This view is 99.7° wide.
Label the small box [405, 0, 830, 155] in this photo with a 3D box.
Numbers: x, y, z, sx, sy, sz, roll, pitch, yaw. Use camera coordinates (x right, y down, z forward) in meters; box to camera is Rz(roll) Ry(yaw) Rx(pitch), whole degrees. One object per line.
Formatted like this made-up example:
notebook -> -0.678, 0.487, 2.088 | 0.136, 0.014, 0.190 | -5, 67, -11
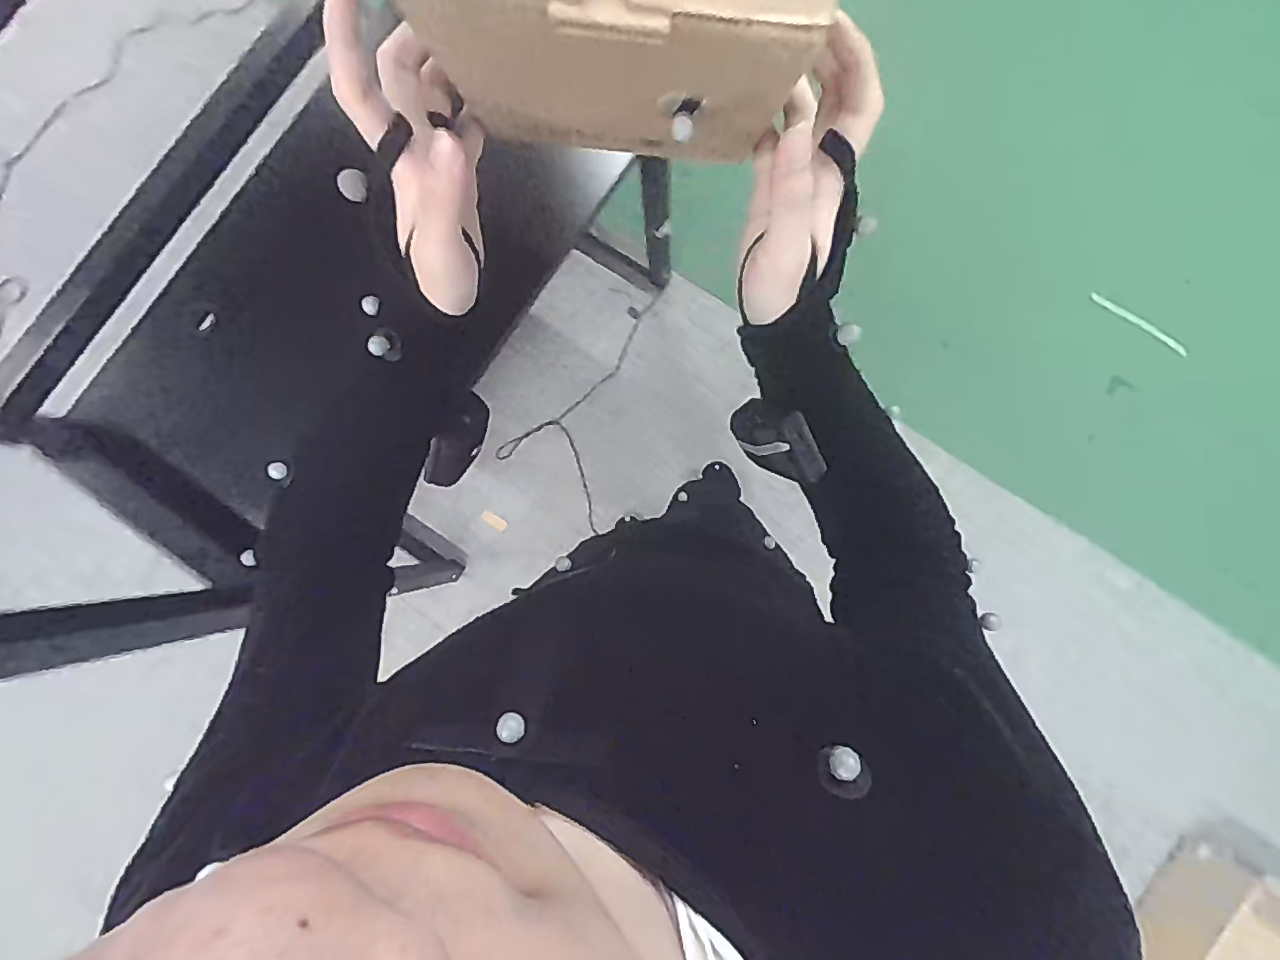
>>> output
small box -> -0.001, -0.276, 0.250 | 0.168, 0.176, 0.179 | 6, 105, -3
